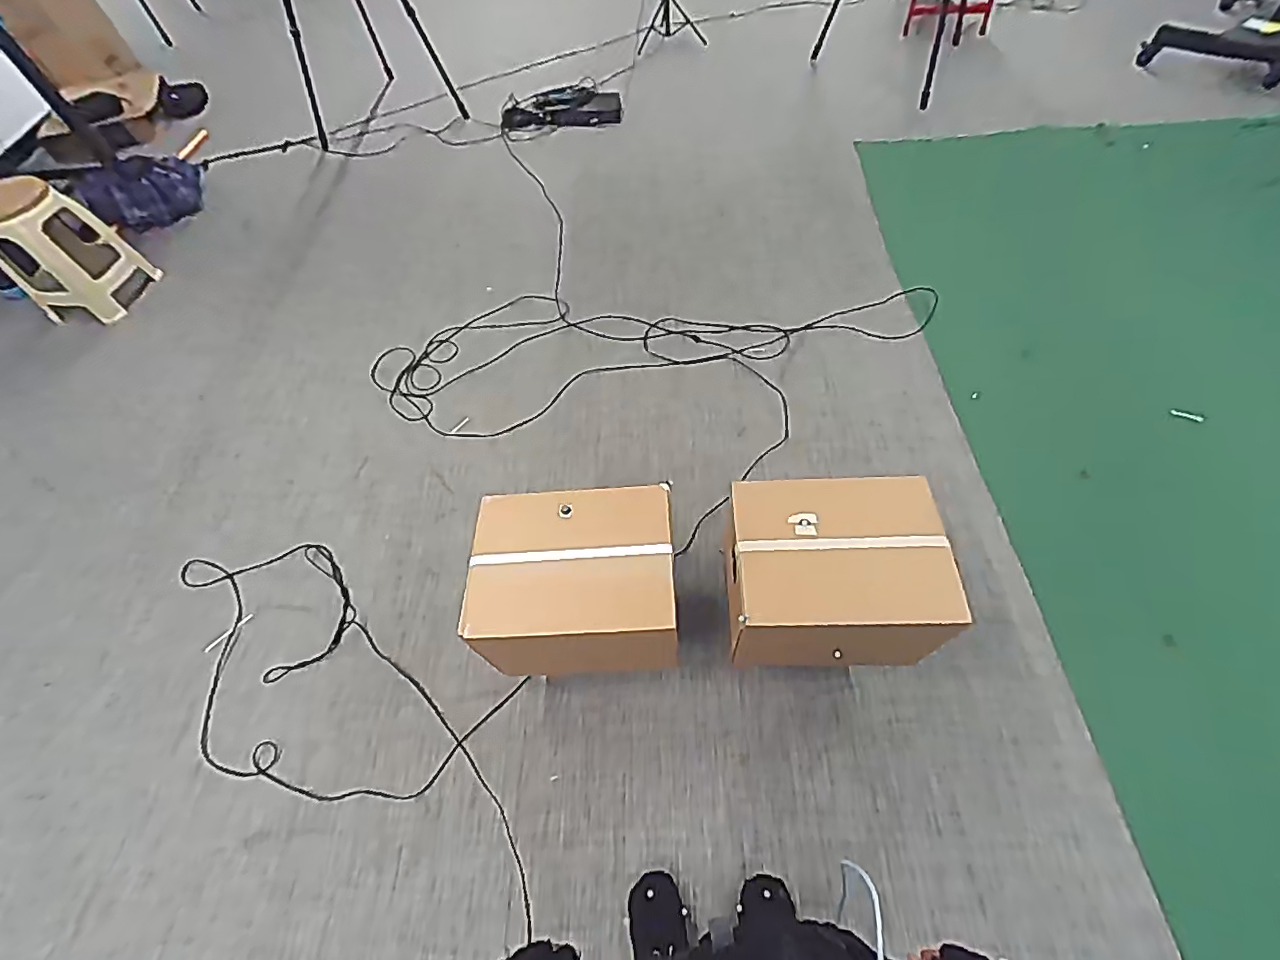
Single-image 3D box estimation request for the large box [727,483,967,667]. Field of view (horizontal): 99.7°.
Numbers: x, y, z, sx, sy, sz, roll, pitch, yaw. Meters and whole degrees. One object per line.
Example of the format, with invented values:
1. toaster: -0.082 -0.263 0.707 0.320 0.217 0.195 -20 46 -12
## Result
1. large box: 0.410 0.223 1.193 0.408 0.320 0.320 -2 57 5
